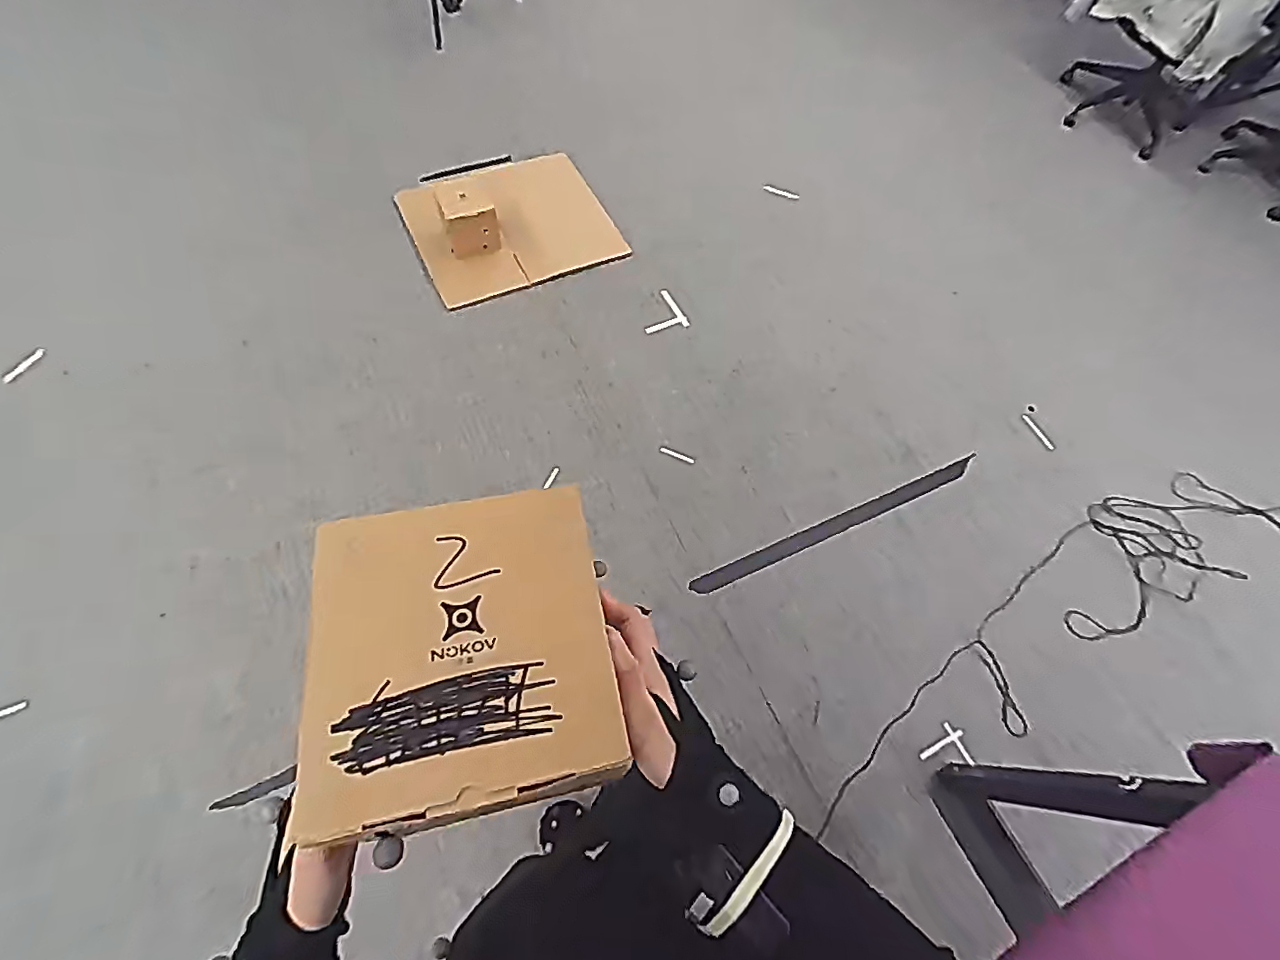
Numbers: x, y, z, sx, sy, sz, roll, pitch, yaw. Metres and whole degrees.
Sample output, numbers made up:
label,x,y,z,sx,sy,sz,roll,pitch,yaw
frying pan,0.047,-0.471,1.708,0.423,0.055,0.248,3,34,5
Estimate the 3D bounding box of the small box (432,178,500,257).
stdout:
label,x,y,z,sx,sy,sz,roll,pitch,yaw
small box,-0.596,-0.899,1.870,0.168,0.176,0.179,-22,68,-17
